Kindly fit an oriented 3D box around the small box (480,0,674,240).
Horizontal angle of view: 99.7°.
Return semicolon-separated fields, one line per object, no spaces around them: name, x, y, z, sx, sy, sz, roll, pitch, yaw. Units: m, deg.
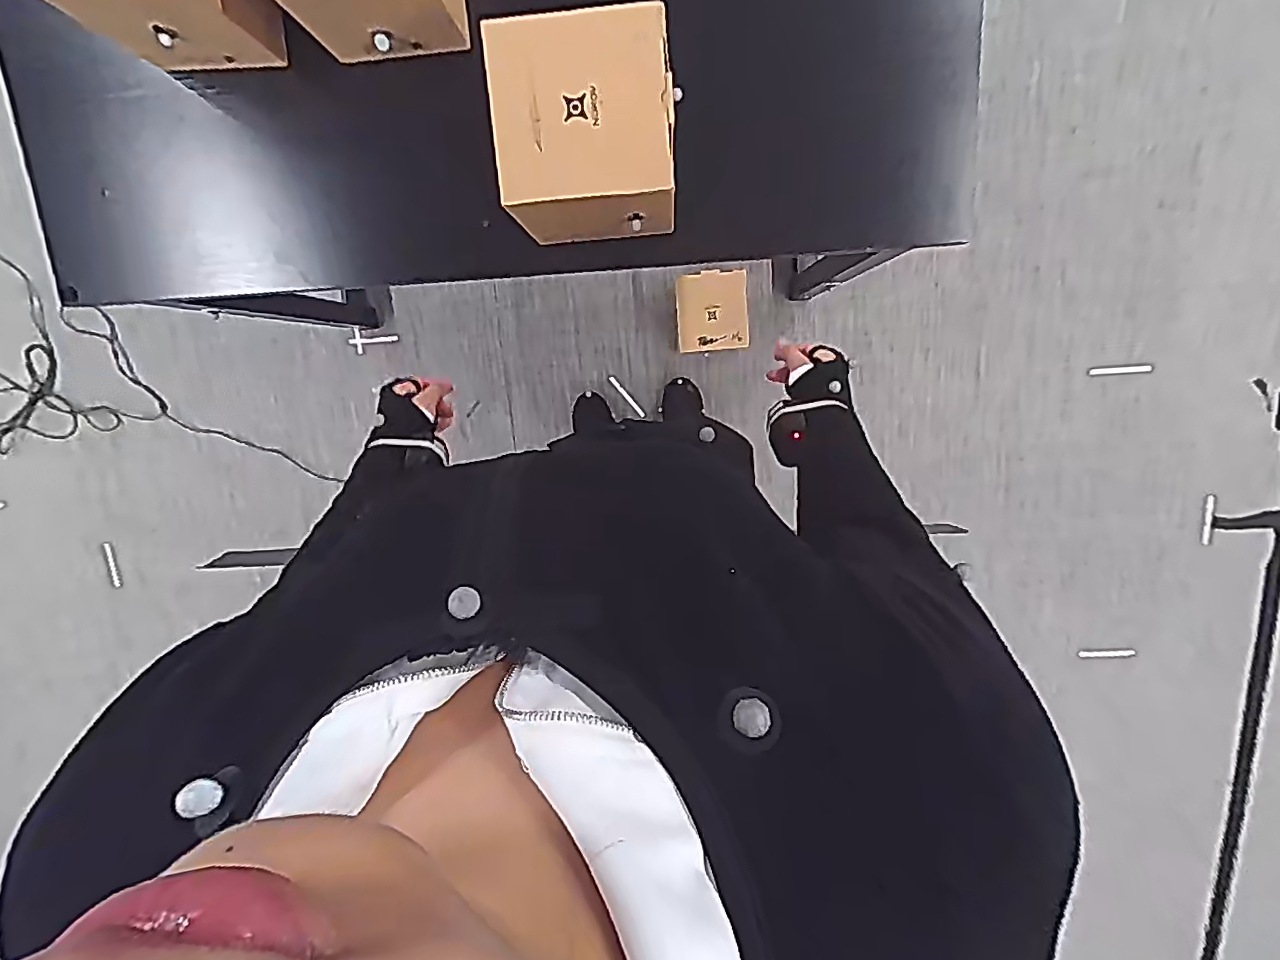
small box;-0.056;-0.377;0.598;0.179;0.176;0.168;-4;100;4

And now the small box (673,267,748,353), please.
small box;0.169;-0.410;1.324;0.168;0.176;0.179;-4;101;4

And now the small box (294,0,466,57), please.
small box;-0.296;-0.590;0.563;0.168;0.176;0.179;-3;102;3

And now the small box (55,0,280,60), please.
small box;-0.521;-0.583;0.575;0.168;0.176;0.179;0;101;2
